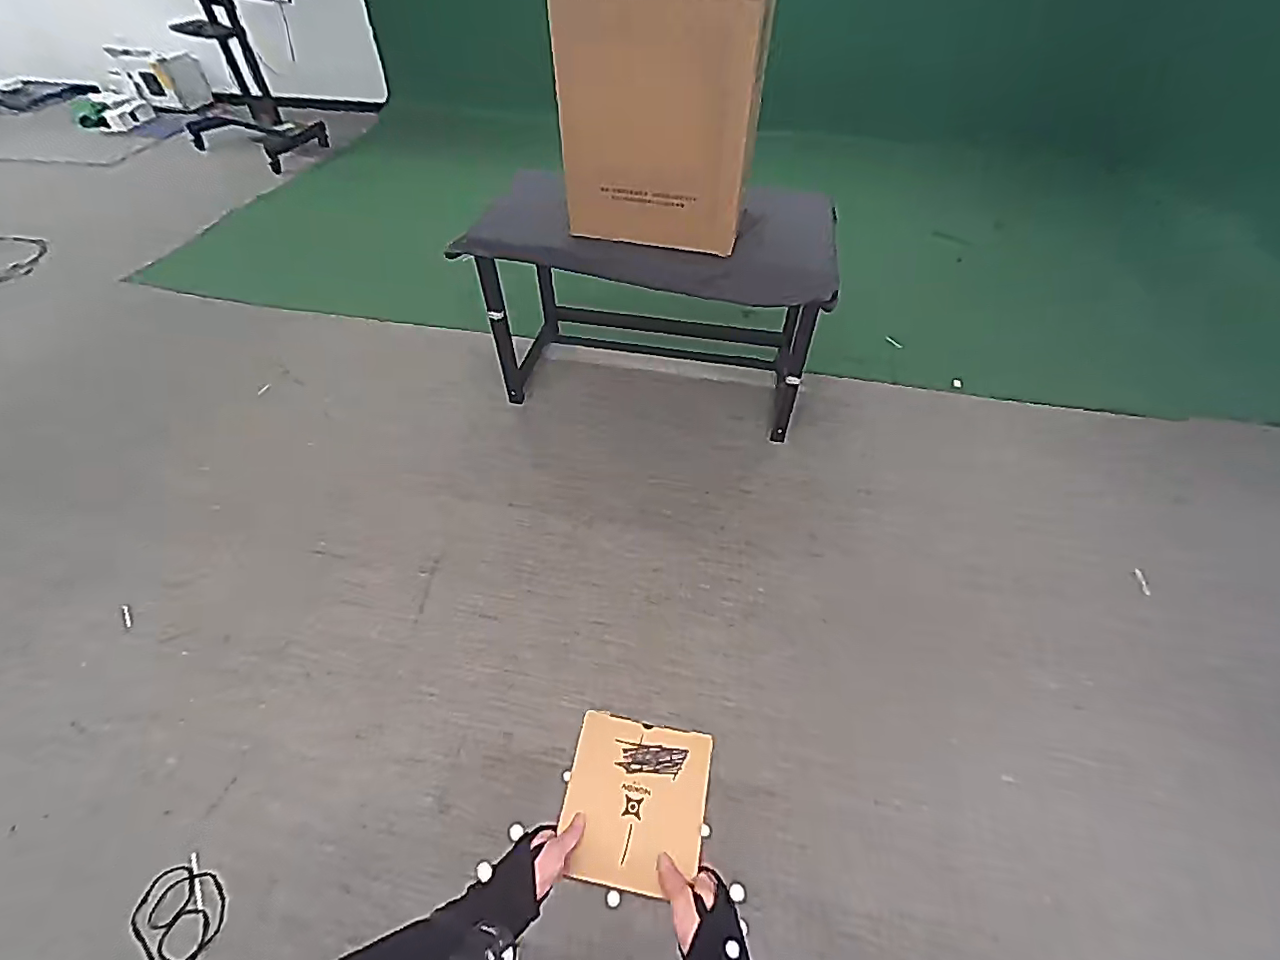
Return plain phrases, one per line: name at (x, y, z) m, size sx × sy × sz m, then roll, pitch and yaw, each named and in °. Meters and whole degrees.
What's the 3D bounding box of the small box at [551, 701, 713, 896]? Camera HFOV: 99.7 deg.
small box at (-0.007, 0.416, 0.704) m, size 0.168 × 0.176 × 0.179 m, roll 10°, pitch 53°, yaw 6°
